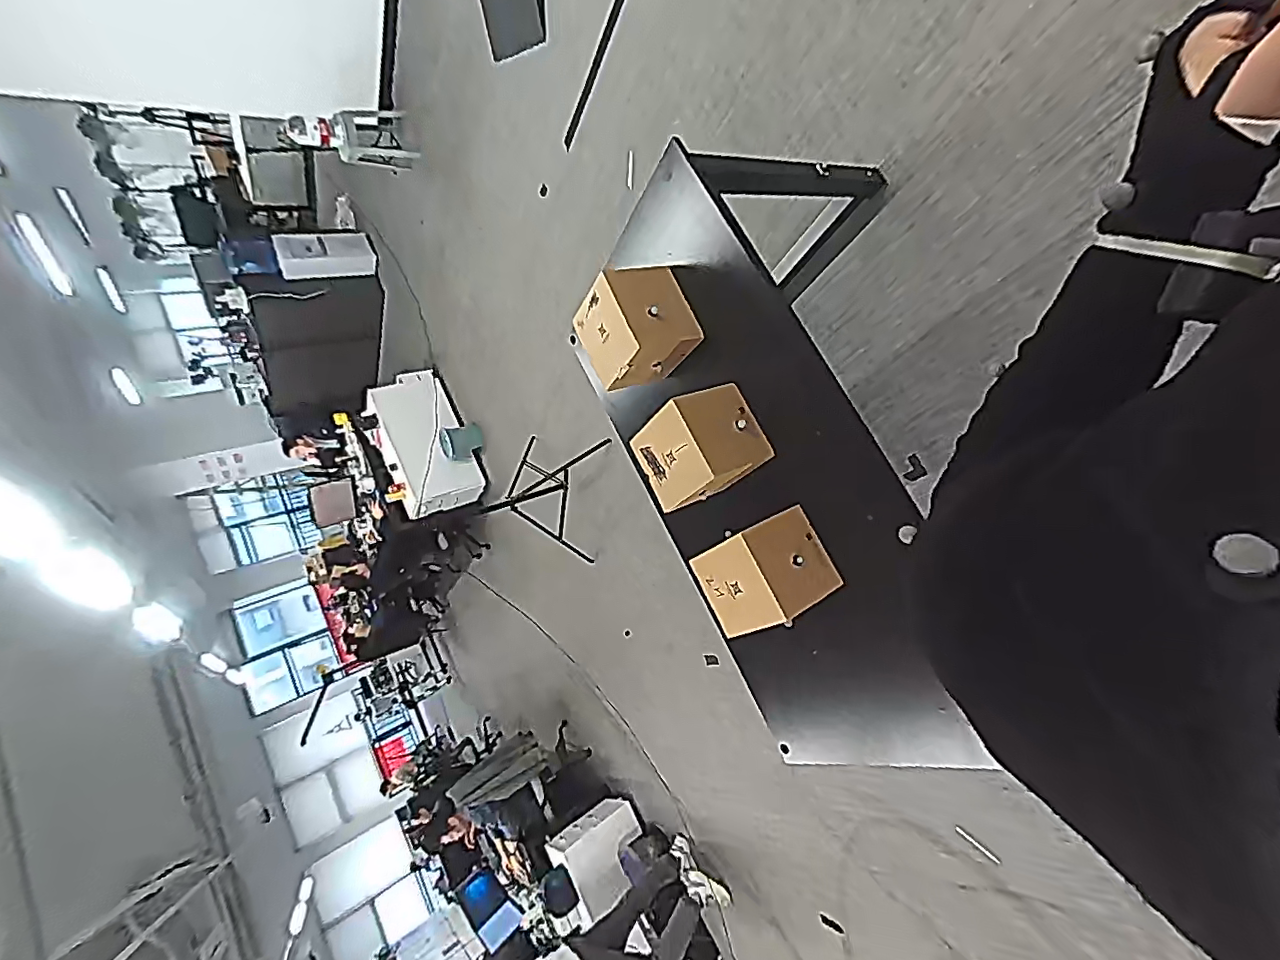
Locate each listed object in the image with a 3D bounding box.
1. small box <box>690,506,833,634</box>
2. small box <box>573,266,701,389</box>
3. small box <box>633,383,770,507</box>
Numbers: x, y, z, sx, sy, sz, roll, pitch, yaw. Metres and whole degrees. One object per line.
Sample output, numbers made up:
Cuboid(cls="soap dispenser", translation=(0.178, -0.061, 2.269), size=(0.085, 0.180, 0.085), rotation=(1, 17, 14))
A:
Cuboid(cls="small box", translation=(0.234, 0.167, 1.019), size=(0.168, 0.176, 0.179), rotation=(63, 146, 11))
Cuboid(cls="small box", translation=(-0.006, -0.316, 1.110), size=(0.168, 0.176, 0.179), rotation=(-38, 76, 55))
Cuboid(cls="small box", translation=(0.119, -0.069, 1.061), size=(0.168, 0.176, 0.179), rotation=(63, 145, 10))
